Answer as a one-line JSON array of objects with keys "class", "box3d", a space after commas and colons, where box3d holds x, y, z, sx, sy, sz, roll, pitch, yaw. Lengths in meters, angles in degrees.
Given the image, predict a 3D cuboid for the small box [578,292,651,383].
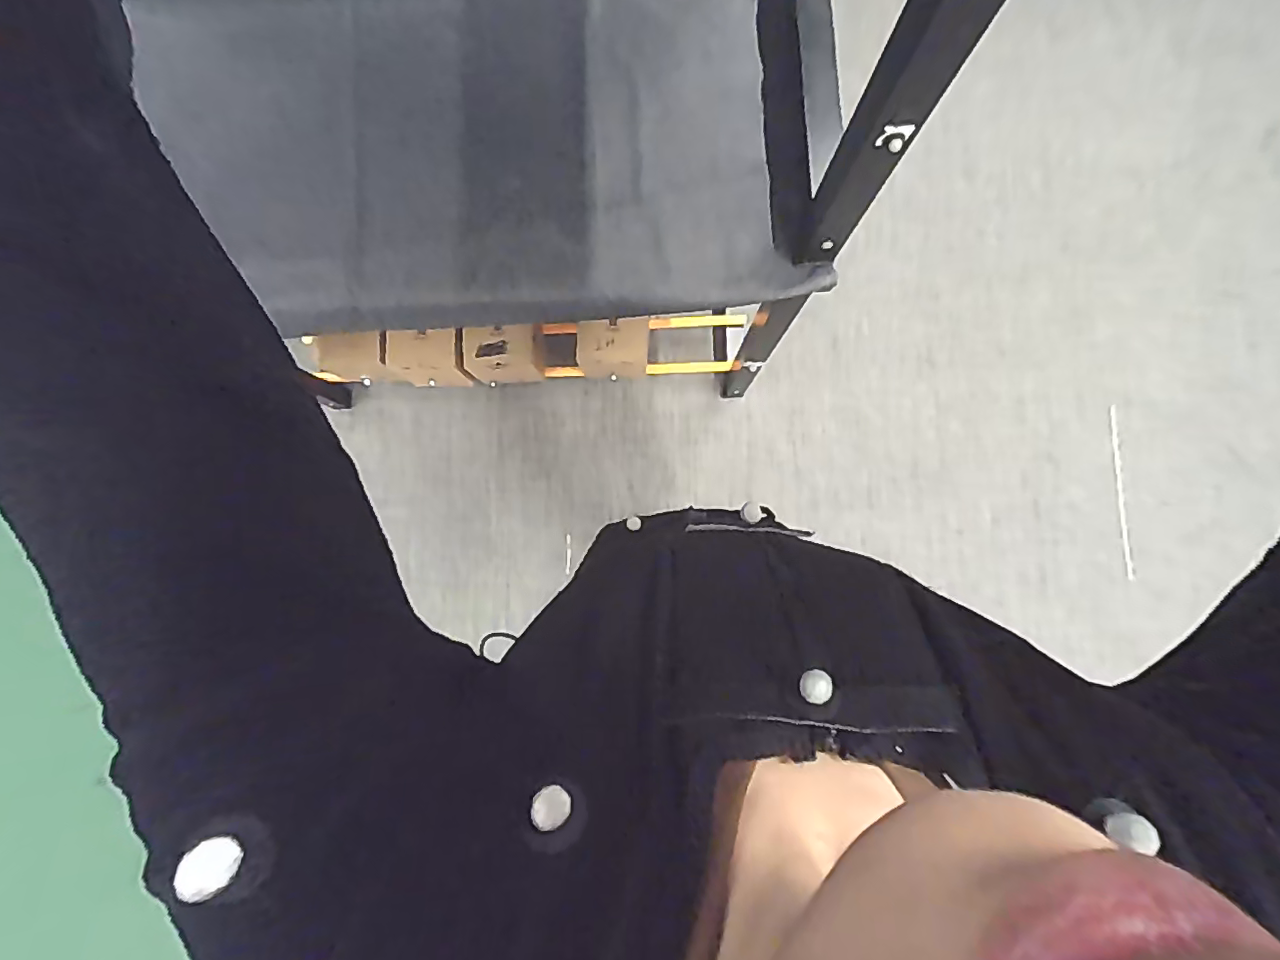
[{"class": "small box", "box3d": [-0.060, -0.357, 1.374, 0.168, 0.176, 0.179, 3, 86, 3]}]
